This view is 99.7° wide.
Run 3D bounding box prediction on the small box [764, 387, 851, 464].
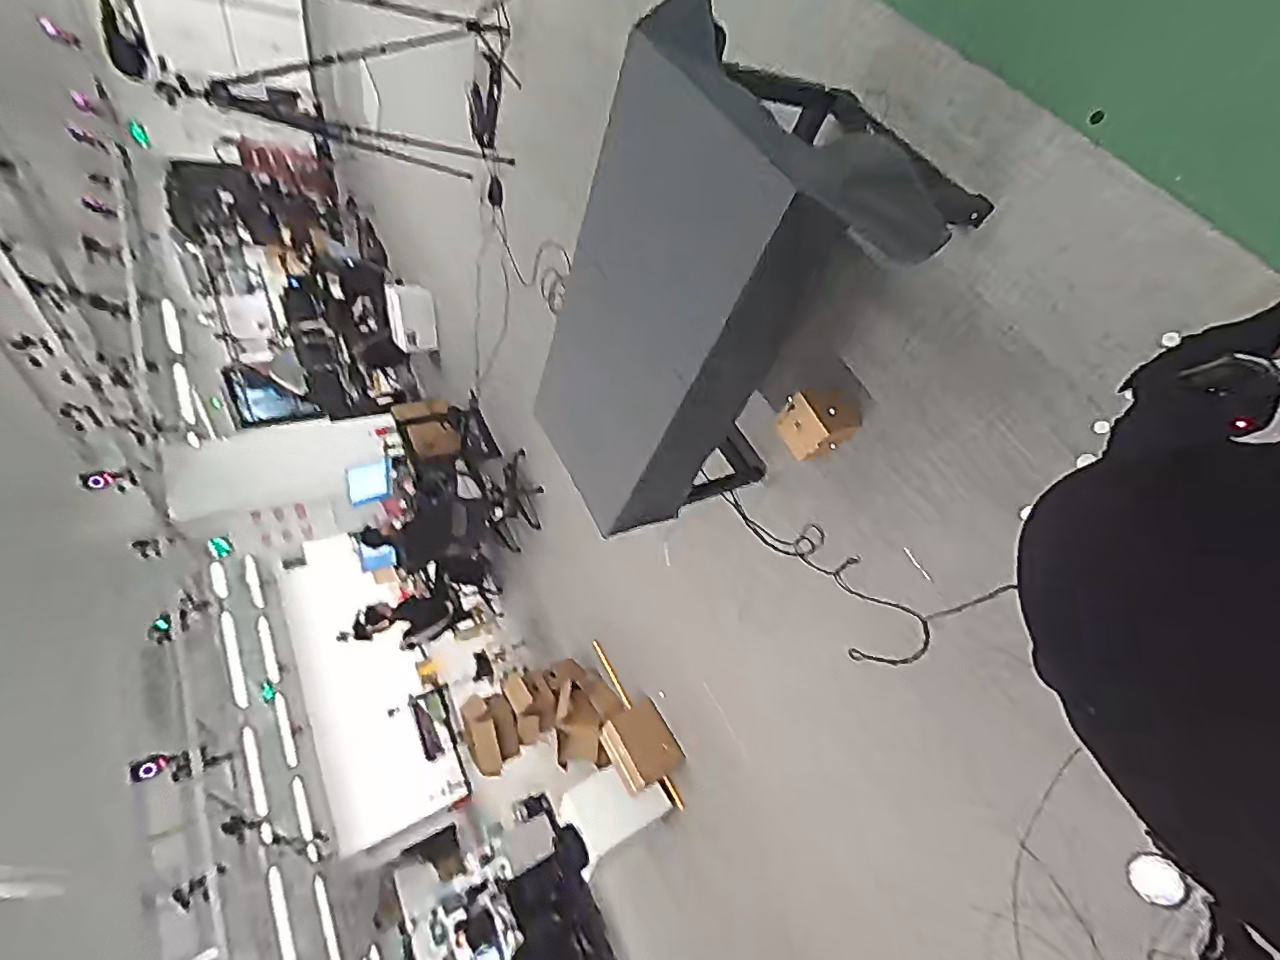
[{"bbox_3d":[0.550,-0.183,1.771,0.179,0.176,0.168,61,145,20],"label":"small box"}]
